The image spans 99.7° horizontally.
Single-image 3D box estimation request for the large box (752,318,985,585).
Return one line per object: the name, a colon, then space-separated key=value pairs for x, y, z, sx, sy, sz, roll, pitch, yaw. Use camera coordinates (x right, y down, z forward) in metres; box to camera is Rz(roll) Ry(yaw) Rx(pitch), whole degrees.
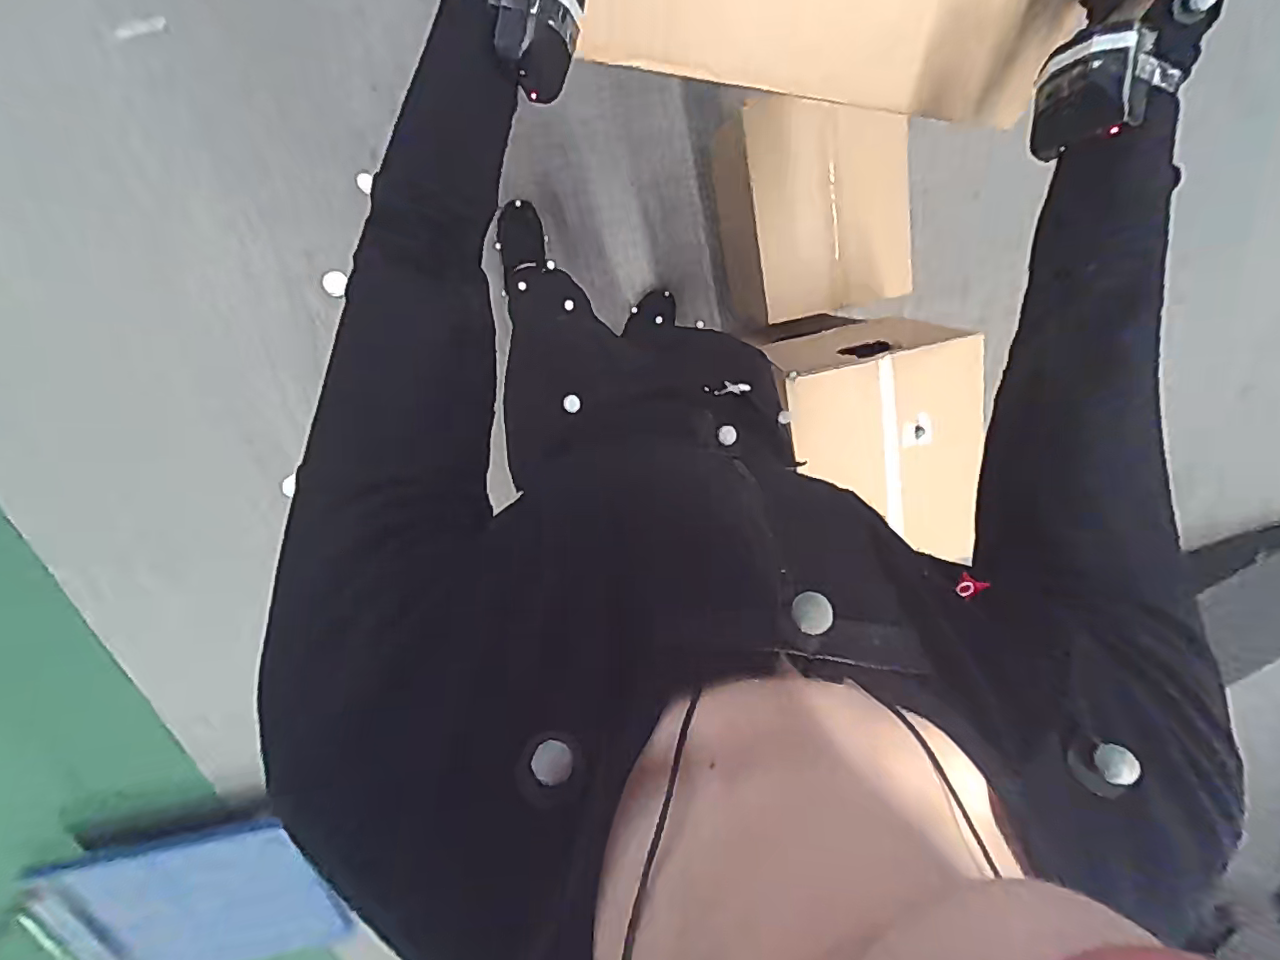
large box: x=0.421 y=-0.069 z=1.046 sx=0.320 sy=0.320 sz=0.408 roll=-12 pitch=110 yaw=5
